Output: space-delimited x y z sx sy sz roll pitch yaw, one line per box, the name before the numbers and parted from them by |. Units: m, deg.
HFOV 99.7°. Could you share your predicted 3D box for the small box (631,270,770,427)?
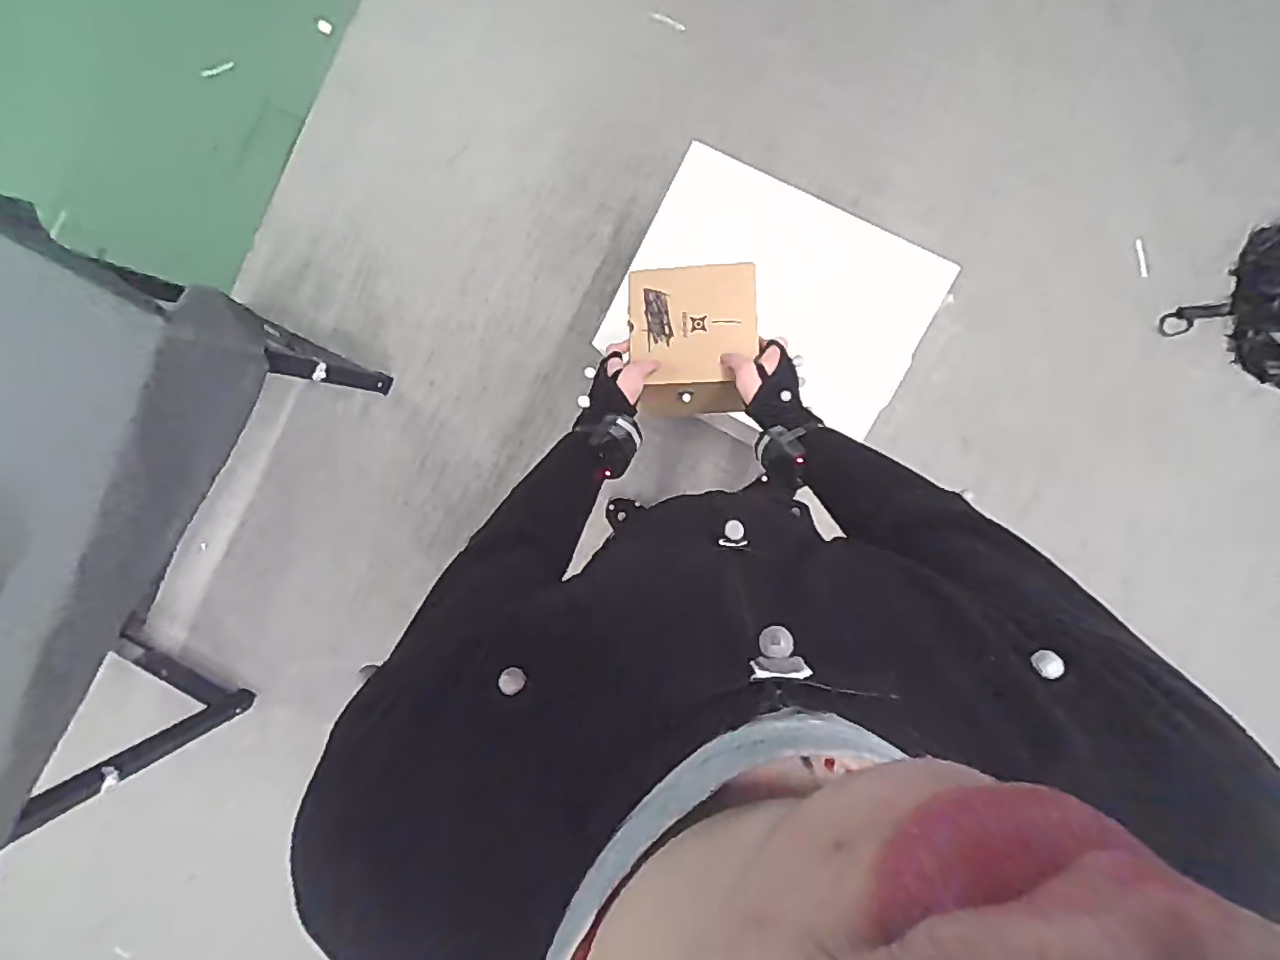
small box | 0.086 -0.178 0.781 0.179 0.176 0.168 -3 81 6
